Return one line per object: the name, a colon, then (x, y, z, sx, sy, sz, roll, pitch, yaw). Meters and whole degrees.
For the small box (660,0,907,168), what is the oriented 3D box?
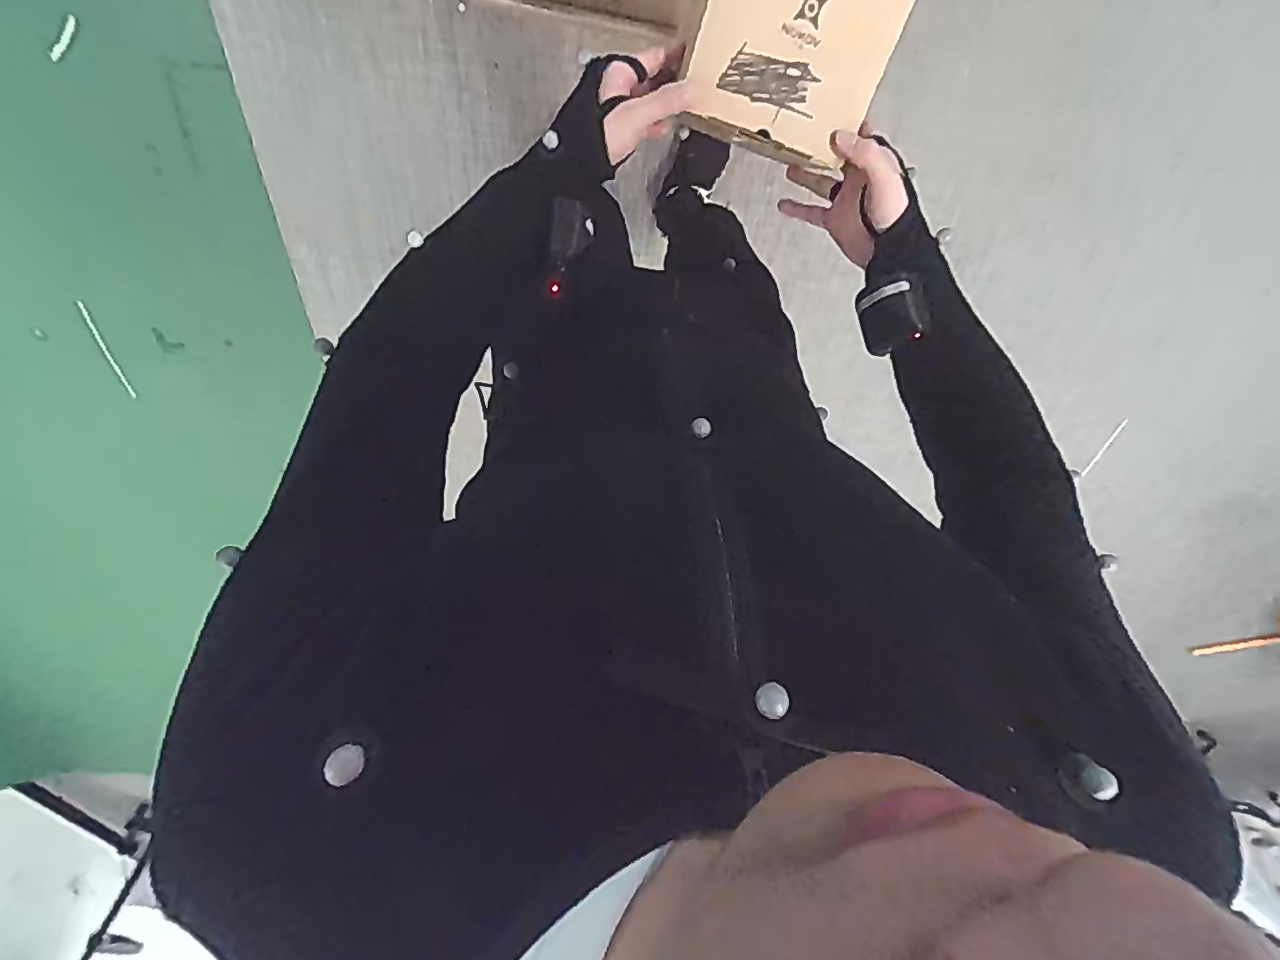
small box: (0.124, -0.422, 0.513, 0.168, 0.176, 0.179, 12, 120, -14)
